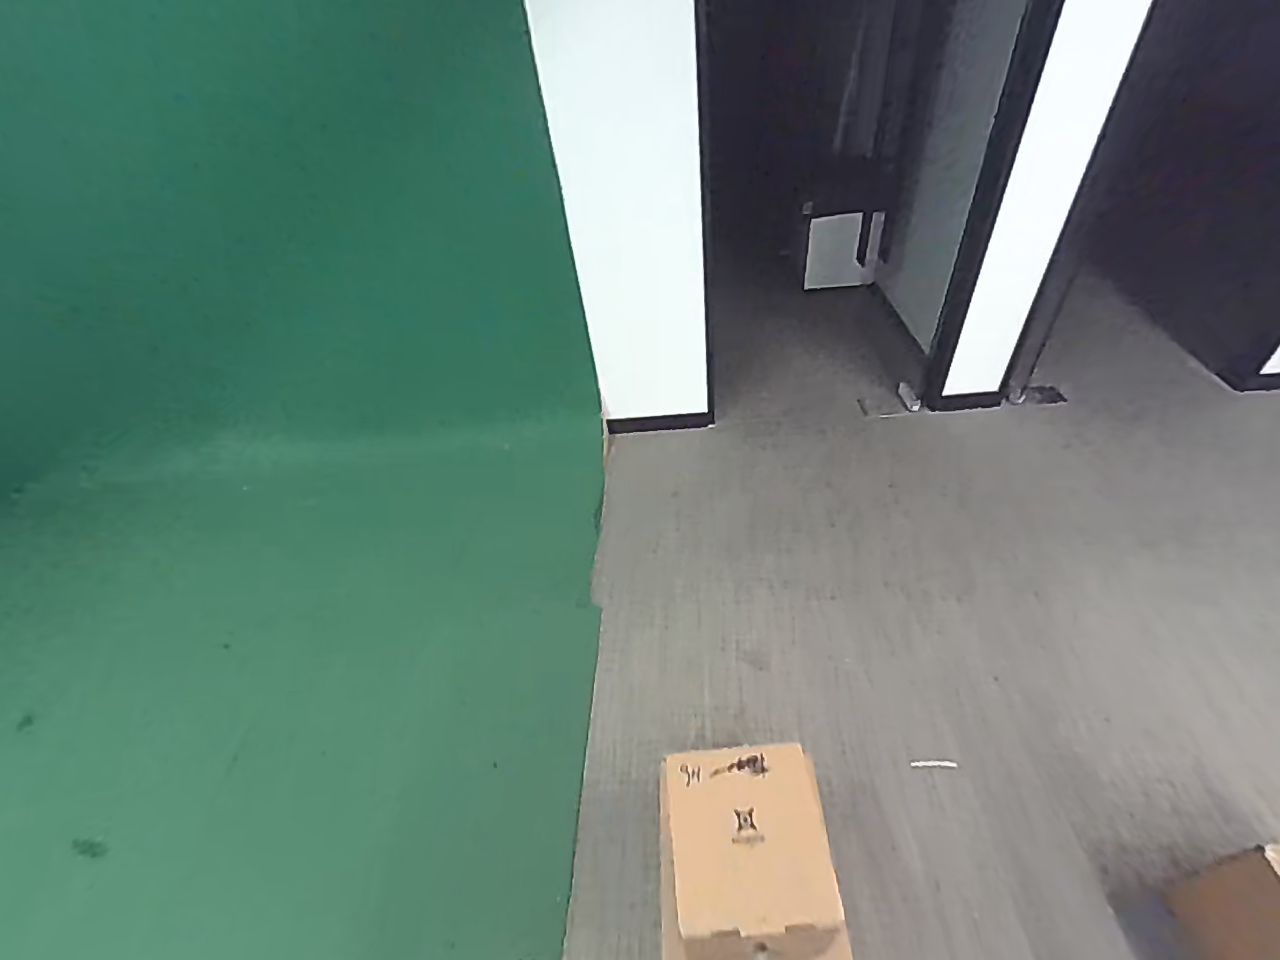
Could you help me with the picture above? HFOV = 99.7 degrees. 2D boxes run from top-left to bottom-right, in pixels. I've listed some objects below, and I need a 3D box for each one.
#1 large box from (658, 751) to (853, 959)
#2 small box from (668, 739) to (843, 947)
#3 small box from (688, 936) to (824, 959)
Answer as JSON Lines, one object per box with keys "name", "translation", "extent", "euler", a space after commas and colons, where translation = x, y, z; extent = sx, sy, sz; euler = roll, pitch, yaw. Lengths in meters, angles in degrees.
{"name": "large box", "translation": [0.209, 0.807, 1.080], "extent": [0.320, 0.320, 0.408], "euler": [-4, 42, 5]}
{"name": "small box", "translation": [0.127, 0.436, 0.646], "extent": [0.168, 0.176, 0.179], "euler": [-6, 43, 3]}
{"name": "small box", "translation": [0.145, 0.555, 0.759], "extent": [0.168, 0.176, 0.179], "euler": [-8, 42, 1]}
